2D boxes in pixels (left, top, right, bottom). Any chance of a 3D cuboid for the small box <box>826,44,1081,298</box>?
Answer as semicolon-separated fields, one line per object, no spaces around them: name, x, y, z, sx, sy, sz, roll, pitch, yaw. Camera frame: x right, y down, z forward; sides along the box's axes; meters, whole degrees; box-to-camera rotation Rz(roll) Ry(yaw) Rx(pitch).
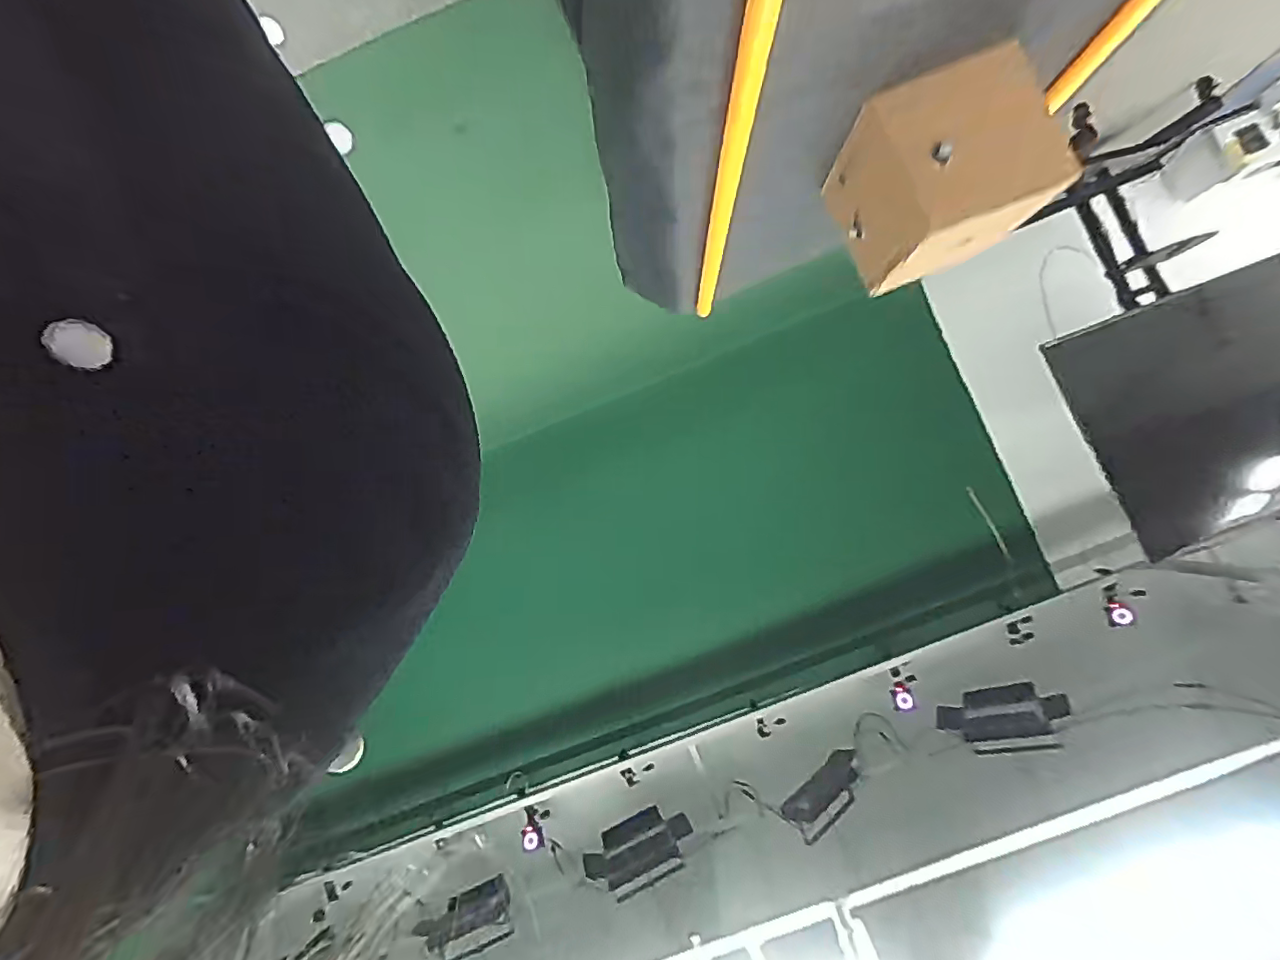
small box;0.352;-0.357;0.648;0.179;0.176;0.168;-25;176;0
